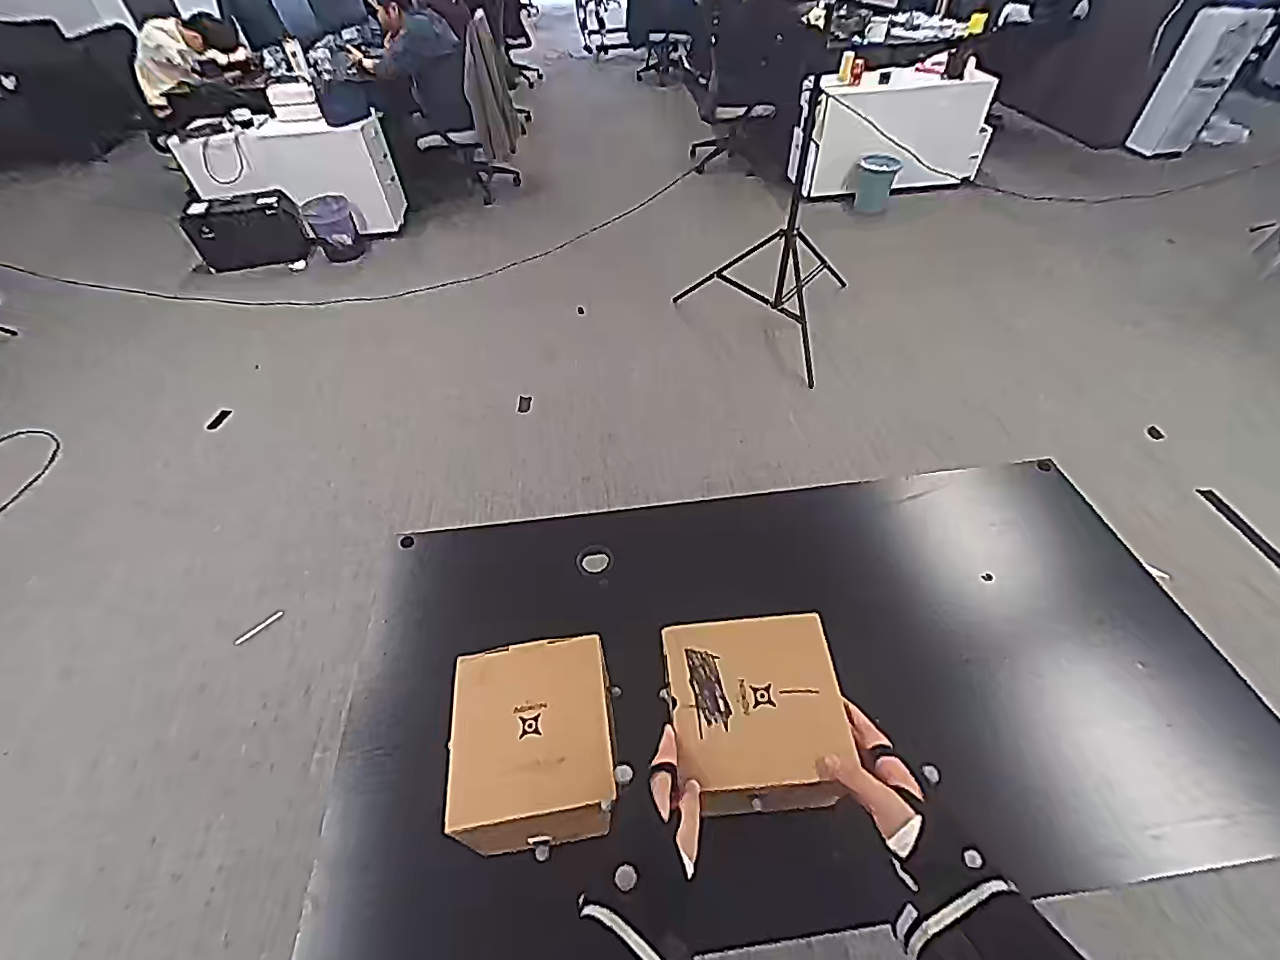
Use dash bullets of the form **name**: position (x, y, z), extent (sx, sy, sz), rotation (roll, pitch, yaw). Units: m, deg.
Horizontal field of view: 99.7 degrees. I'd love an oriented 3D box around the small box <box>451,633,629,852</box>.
- **small box**: position (-0.109, 0.306, 0.631), extent (0.168, 0.176, 0.179), rotation (-10, 49, -4)
